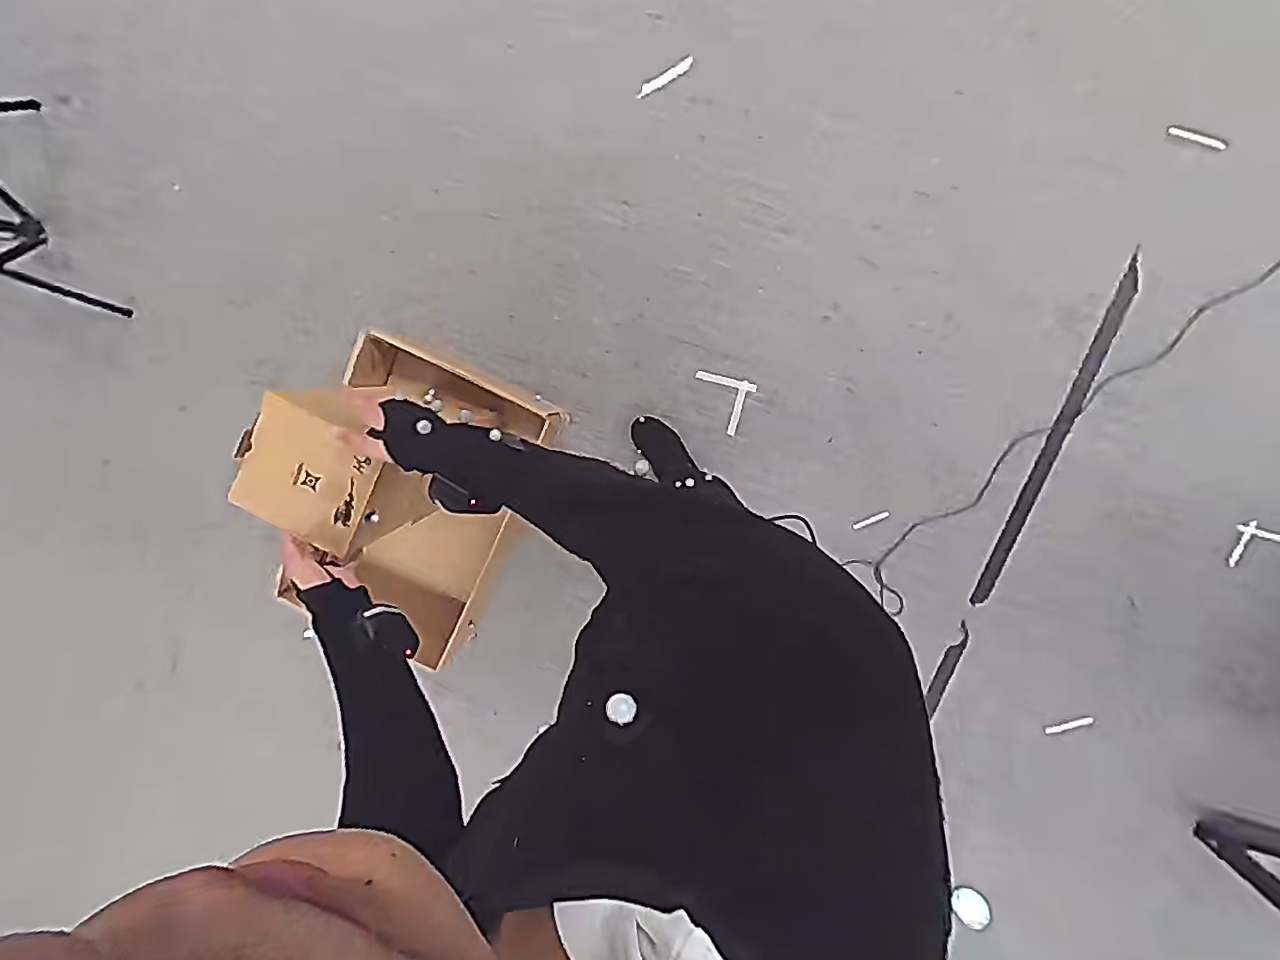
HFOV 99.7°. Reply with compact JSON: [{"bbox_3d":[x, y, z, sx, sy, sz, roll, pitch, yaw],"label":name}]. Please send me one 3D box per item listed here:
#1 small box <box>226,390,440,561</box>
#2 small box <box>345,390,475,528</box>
[{"bbox_3d":[-0.425,-0.016,0.773,0.179,0.176,0.168,29,103,0],"label":"small box"},{"bbox_3d":[-0.408,-0.044,0.934,0.168,0.176,0.179,22,102,0],"label":"small box"}]
